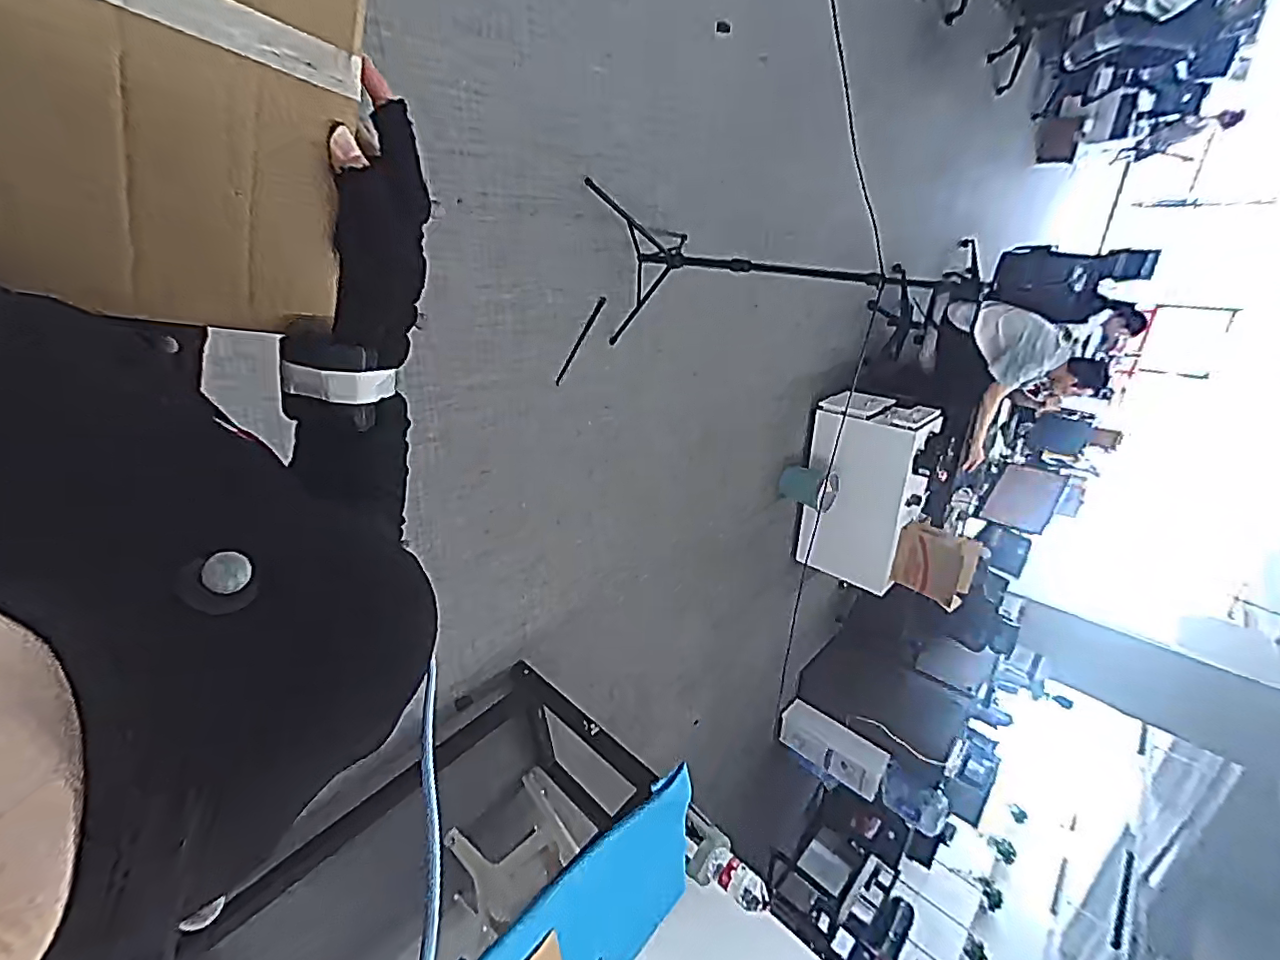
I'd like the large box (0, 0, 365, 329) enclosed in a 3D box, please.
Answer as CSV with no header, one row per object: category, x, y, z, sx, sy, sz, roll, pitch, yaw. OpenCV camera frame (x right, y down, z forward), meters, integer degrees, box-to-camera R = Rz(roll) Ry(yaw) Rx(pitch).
large box,-0.405,-0.301,0.272,0.408,0.320,0.320,-5,129,-44
